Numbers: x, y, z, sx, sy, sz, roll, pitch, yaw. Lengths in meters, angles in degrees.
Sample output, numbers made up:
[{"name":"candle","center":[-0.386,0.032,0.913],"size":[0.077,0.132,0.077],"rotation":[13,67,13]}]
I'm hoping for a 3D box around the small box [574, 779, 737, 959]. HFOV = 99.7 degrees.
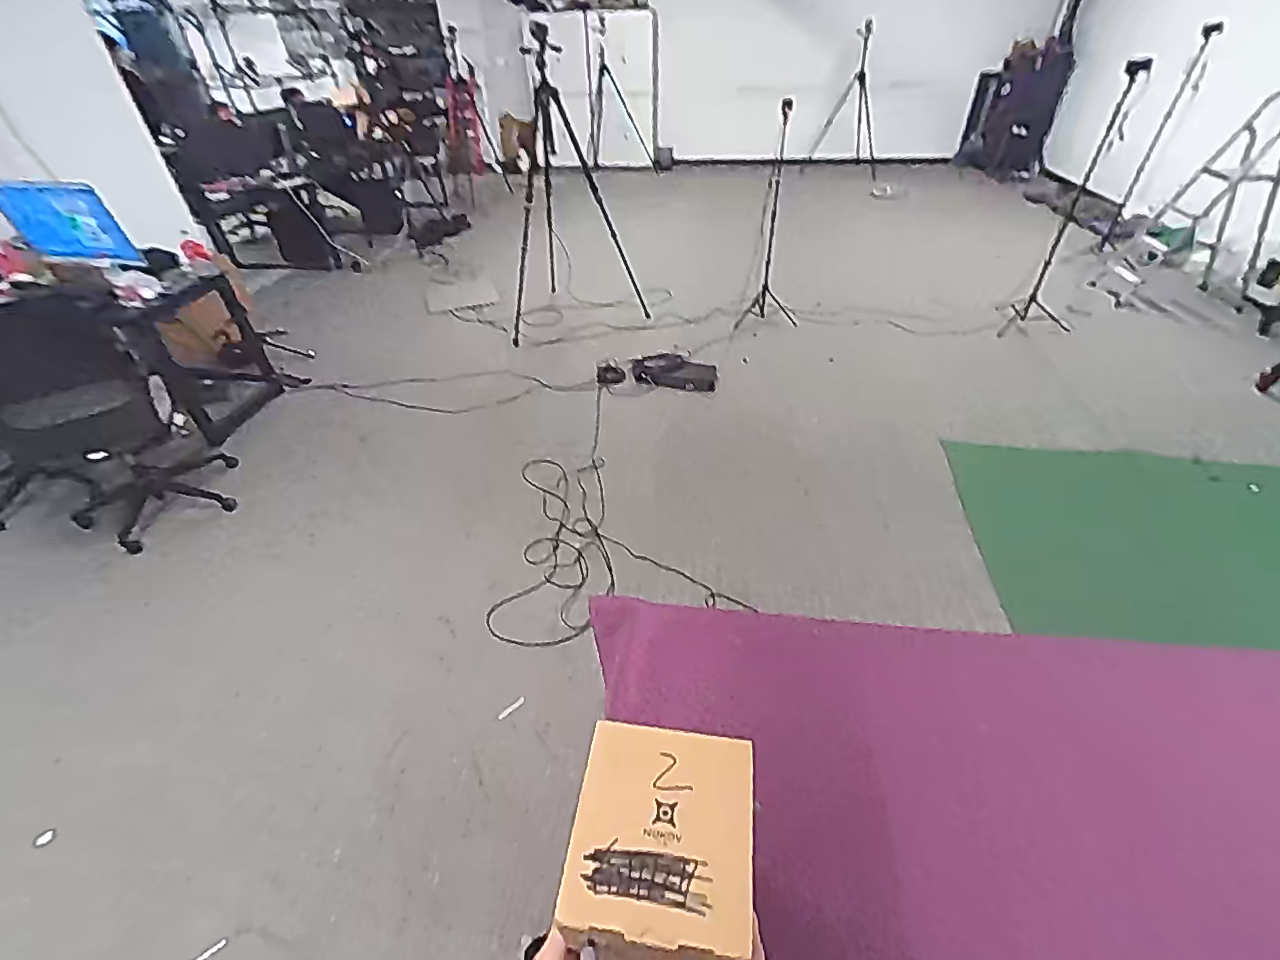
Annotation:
[{"name":"small box","center":[0.028,0.501,0.661],"size":[0.168,0.176,0.179],"rotation":[5,41,8]}]
